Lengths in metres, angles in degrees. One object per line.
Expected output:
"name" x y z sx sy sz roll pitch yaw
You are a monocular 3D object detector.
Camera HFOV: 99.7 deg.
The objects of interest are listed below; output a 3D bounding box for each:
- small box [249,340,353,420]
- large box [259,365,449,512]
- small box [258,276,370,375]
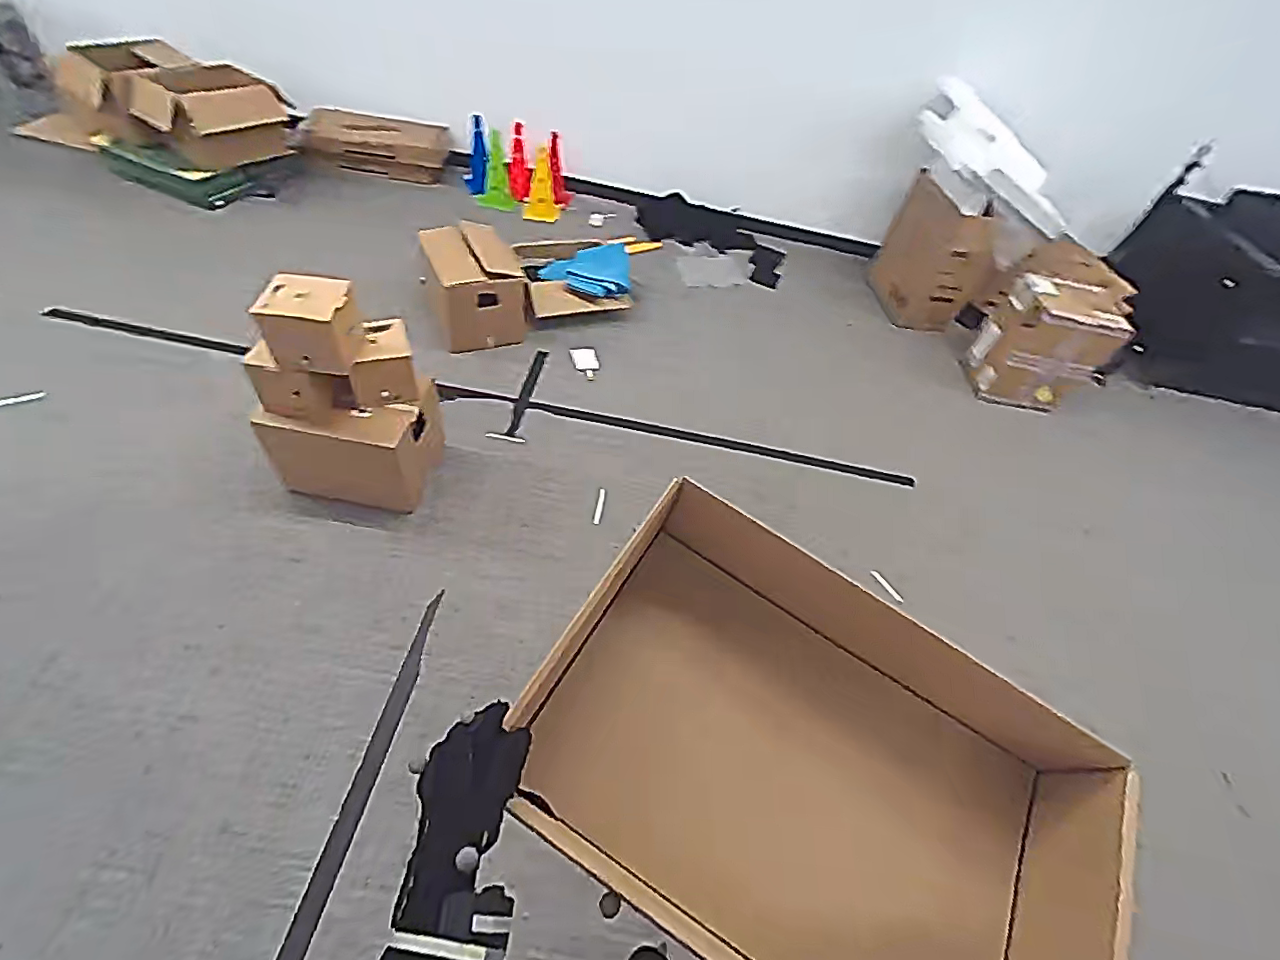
"small box" -0.915 -0.289 1.483 0.168 0.176 0.179 12 48 -5
"large box" -0.856 -0.136 1.687 0.408 0.320 0.320 11 50 -4
"small box" -0.810 -0.385 1.369 0.179 0.176 0.168 6 50 -6
